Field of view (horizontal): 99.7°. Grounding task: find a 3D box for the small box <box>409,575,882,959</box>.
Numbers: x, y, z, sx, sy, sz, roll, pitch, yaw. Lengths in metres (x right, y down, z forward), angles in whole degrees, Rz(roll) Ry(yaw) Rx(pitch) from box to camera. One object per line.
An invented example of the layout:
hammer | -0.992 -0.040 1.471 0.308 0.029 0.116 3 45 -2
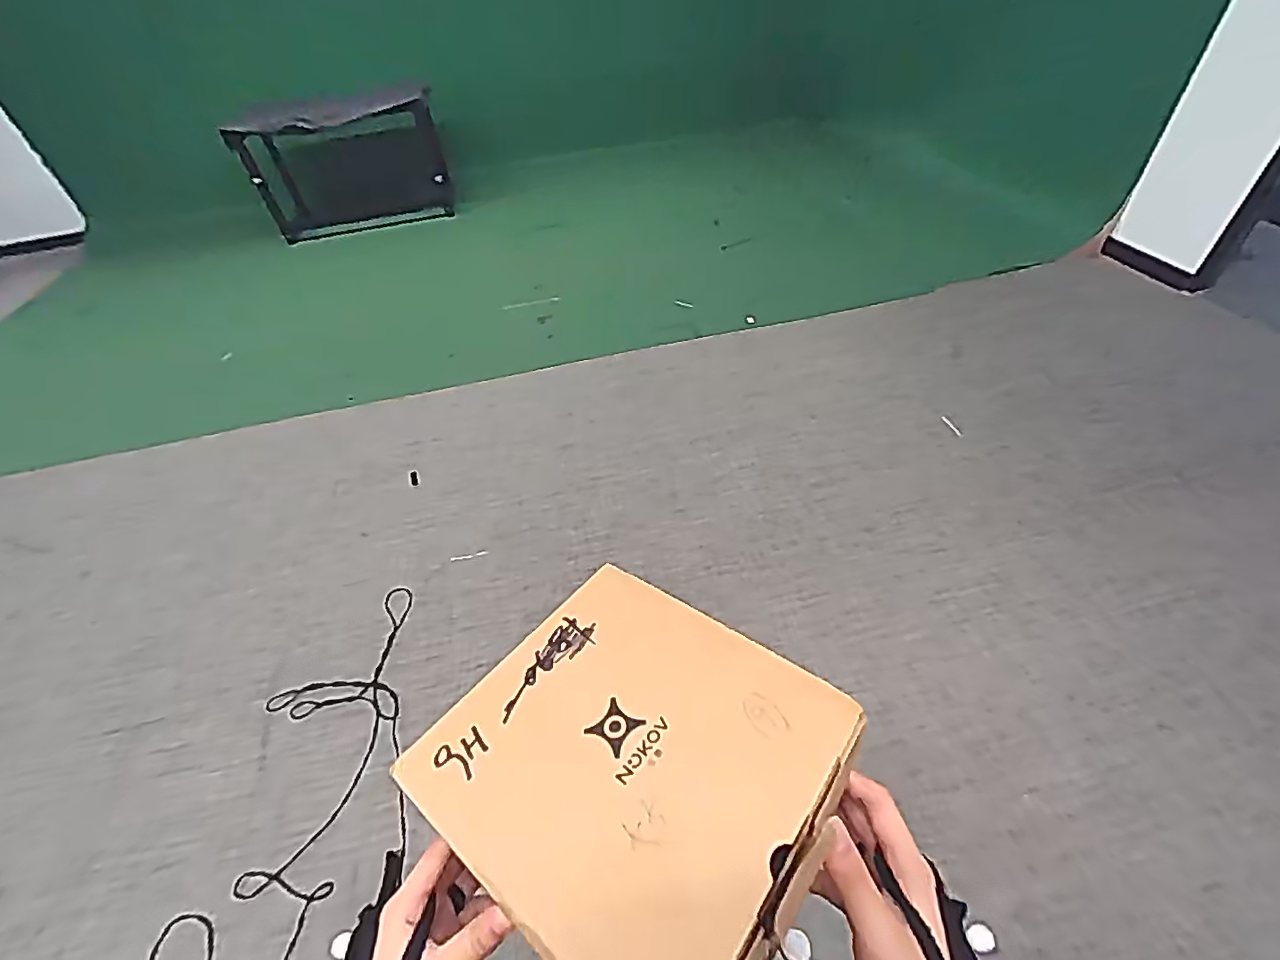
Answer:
small box | 0.008 0.196 0.315 0.179 0.176 0.168 25 48 34
